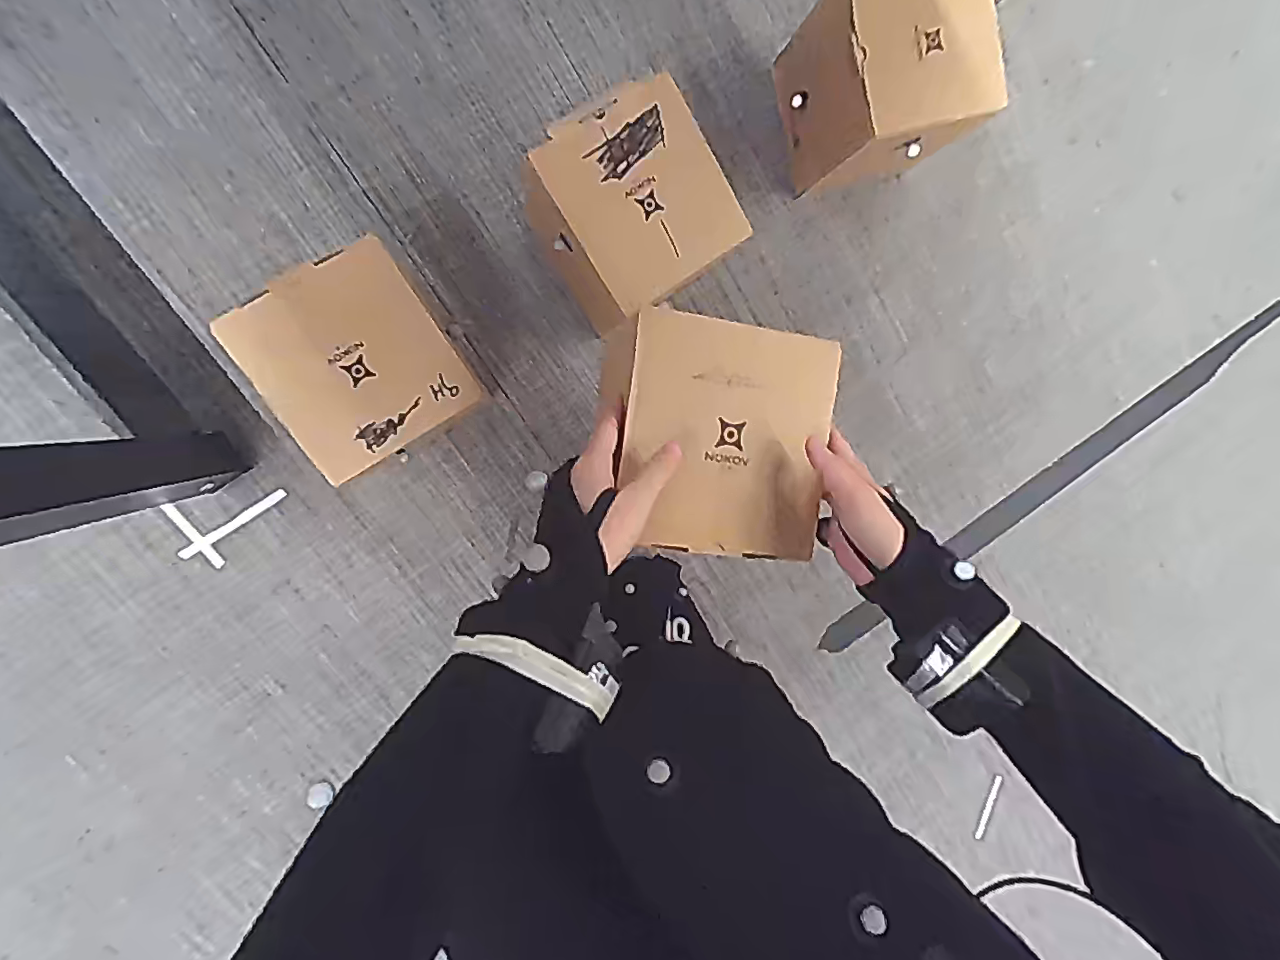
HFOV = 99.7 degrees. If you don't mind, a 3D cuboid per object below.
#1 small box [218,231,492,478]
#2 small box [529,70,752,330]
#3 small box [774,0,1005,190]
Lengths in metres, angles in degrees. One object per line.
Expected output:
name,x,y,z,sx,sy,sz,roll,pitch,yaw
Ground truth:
small box,-0.276,-0.120,0.573,0.168,0.176,0.179,-32,101,-6
small box,-0.012,-0.291,0.608,0.168,0.176,0.179,-35,103,-6
small box,0.289,-0.478,0.651,0.179,0.176,0.168,-18,101,-9
